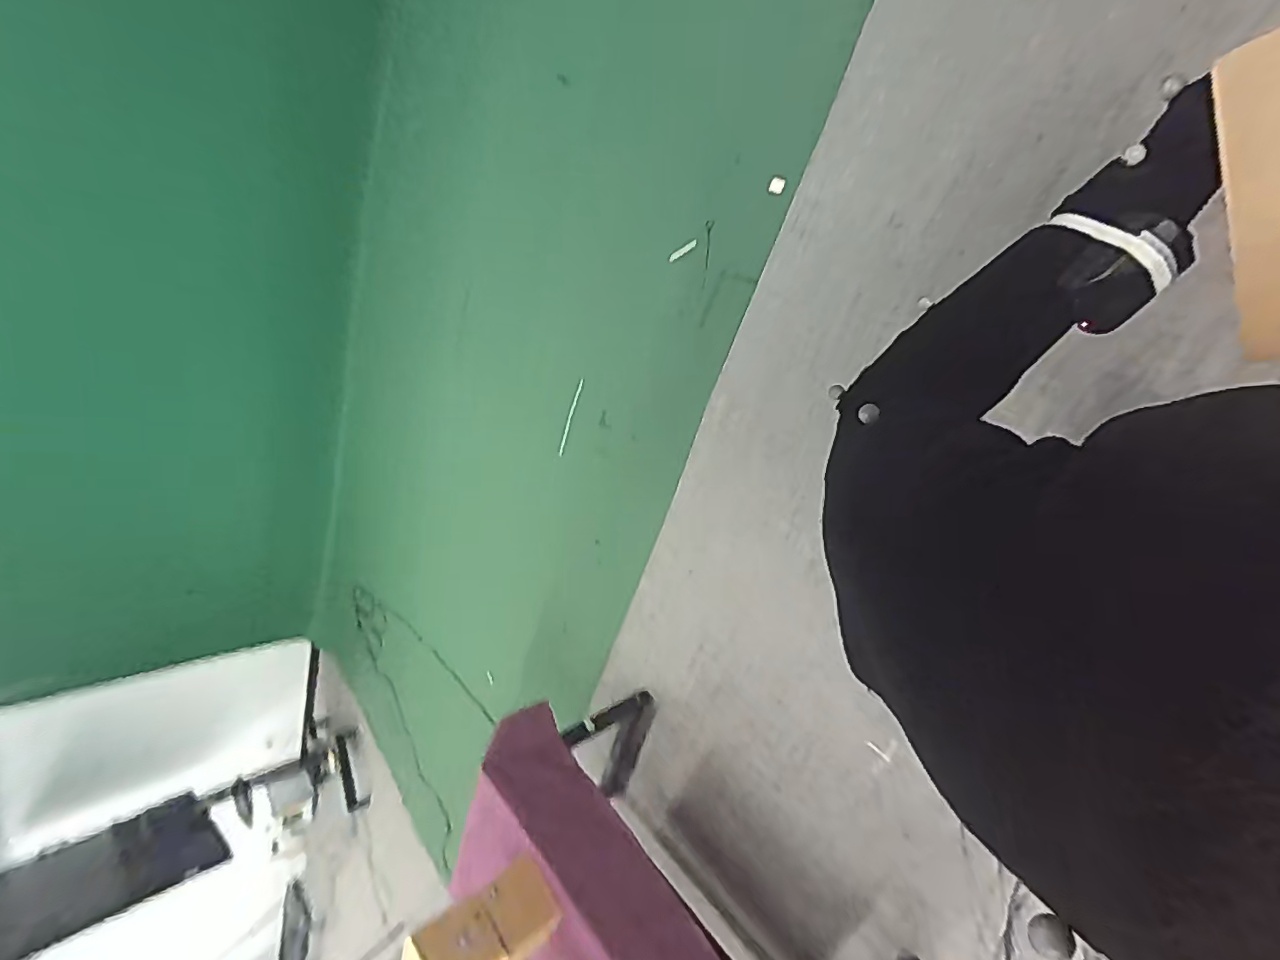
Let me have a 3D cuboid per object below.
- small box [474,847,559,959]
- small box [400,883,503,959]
[{"bbox_3d":[-0.339,1.127,1.427,0.179,0.176,0.168,41,121,33],"label":"small box"},{"bbox_3d":[-0.454,1.138,1.309,0.168,0.176,0.179,37,118,35],"label":"small box"}]
